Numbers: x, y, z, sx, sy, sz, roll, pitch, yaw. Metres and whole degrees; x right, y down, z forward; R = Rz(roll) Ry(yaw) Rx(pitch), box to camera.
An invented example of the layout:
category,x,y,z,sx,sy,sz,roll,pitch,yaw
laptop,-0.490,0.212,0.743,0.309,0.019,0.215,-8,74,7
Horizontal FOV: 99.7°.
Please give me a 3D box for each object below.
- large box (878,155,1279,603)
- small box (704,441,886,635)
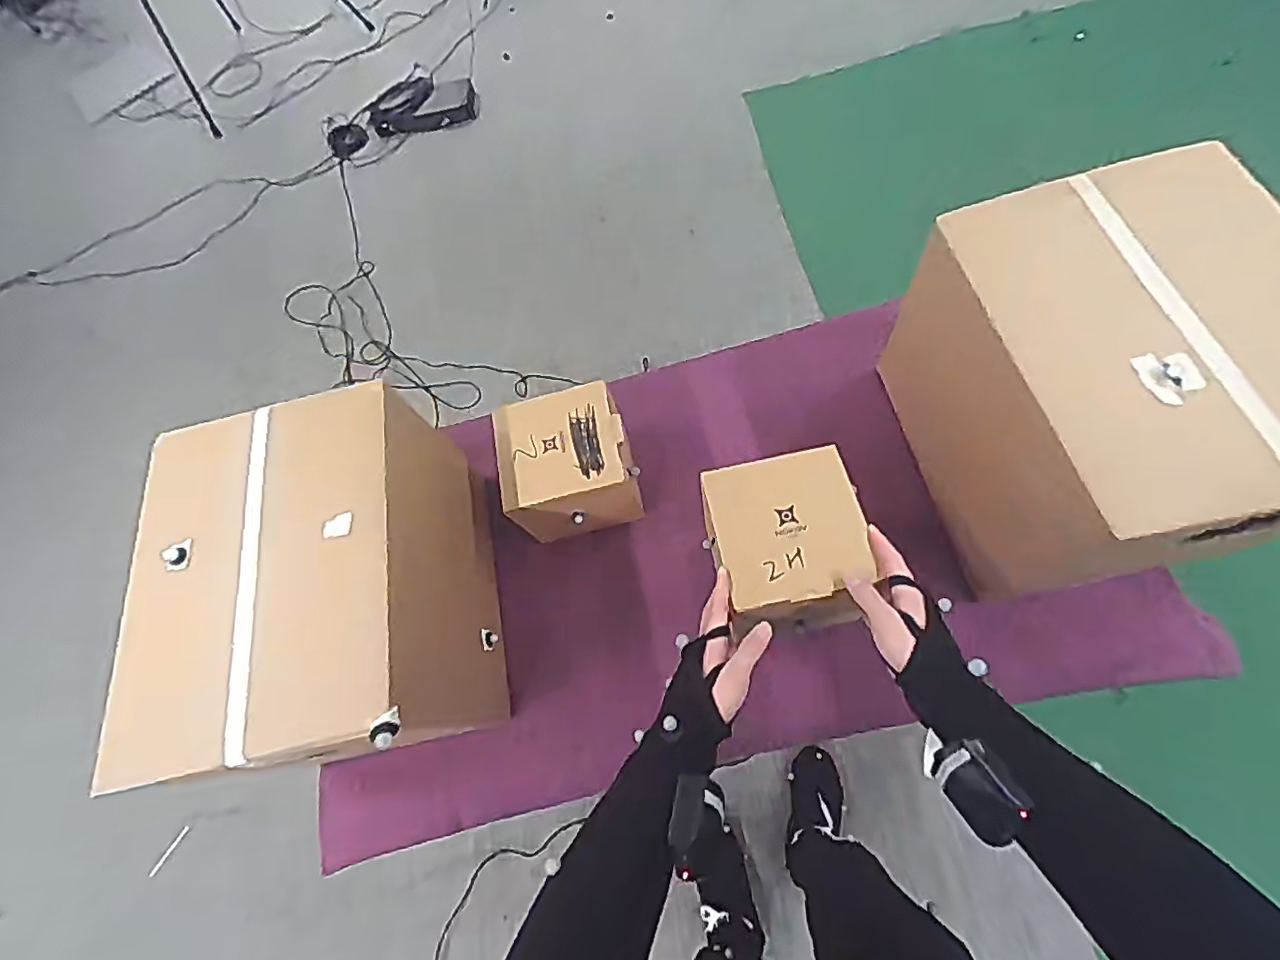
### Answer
category,x,y,z,sx,sy,sz,roll,pitch,yaw
large box,0.548,-0.096,0.668,0.320,0.320,0.408,-14,66,6
small box,0.177,0.079,0.678,0.168,0.176,0.179,-12,62,3
